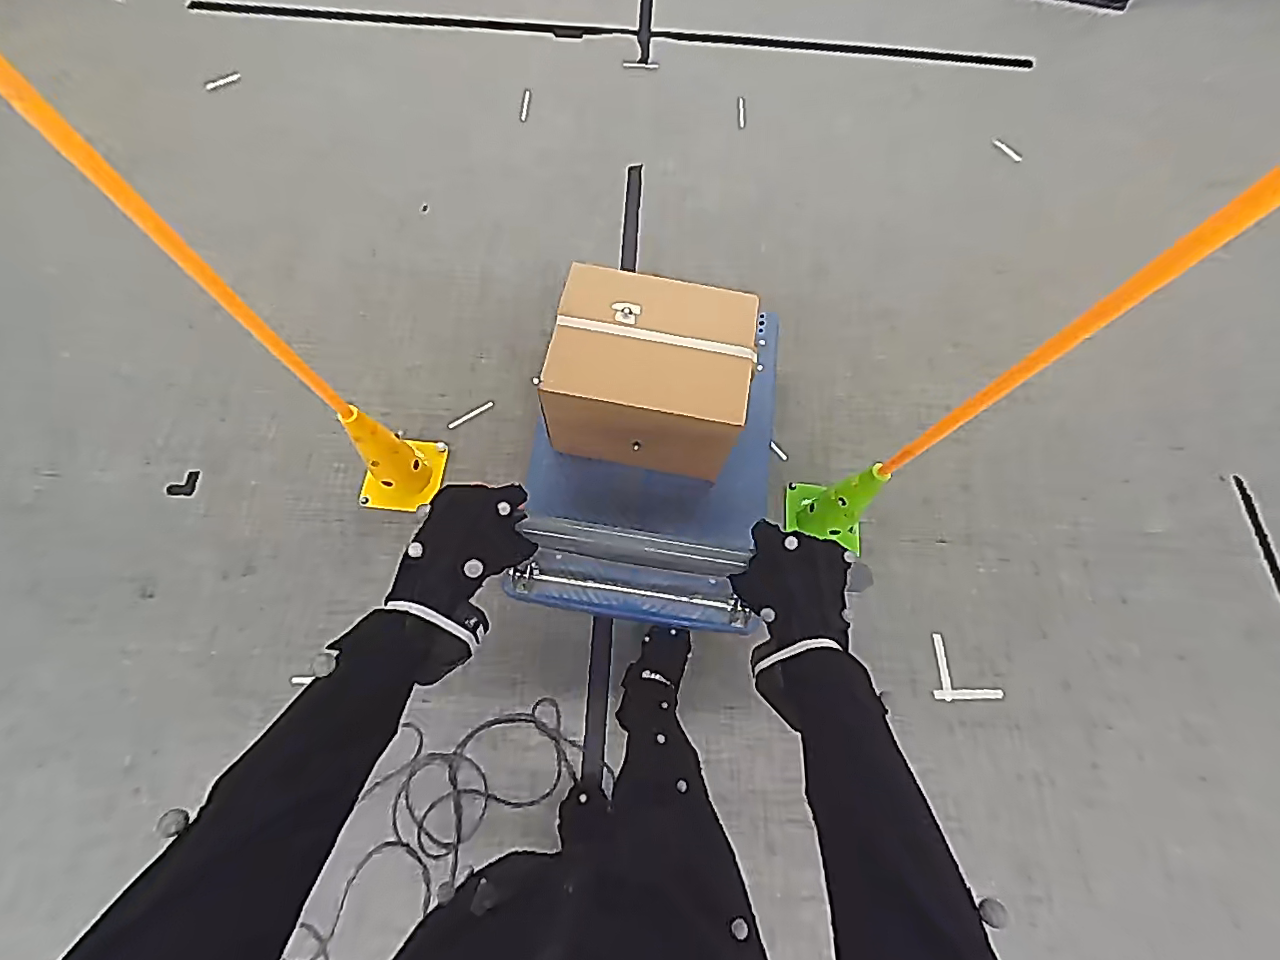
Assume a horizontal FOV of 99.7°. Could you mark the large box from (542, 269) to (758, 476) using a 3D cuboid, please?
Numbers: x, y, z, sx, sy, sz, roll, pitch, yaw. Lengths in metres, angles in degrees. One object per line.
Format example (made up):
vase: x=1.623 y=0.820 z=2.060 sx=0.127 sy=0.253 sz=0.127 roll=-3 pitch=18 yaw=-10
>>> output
large box: x=0.026 y=-0.225 z=1.232 sx=0.408 sy=0.320 sz=0.320 roll=11 pitch=70 yaw=2

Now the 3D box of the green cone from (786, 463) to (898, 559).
green cone: x=0.509 y=0.048 z=1.310 sx=0.202 sy=0.368 sz=0.200 roll=7 pitch=69 yaw=-2
